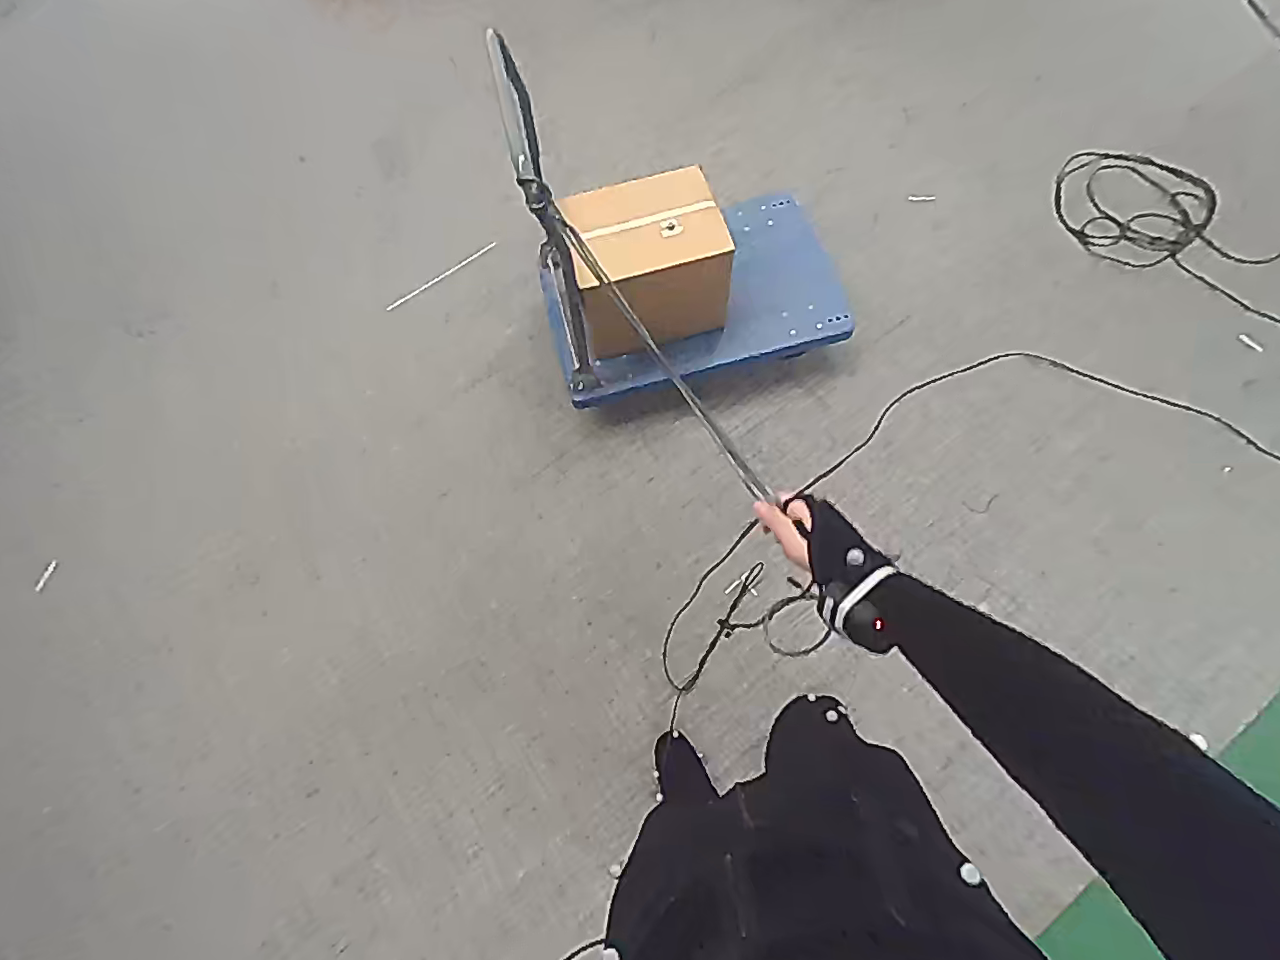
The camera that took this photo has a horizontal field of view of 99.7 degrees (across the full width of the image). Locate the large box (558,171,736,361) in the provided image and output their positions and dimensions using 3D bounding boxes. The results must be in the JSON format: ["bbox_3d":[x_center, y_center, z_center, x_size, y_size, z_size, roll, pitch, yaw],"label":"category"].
[{"bbox_3d":[0.018,-0.589,1.527,0.408,0.320,0.320,-15,68,-3],"label":"large box"}]
